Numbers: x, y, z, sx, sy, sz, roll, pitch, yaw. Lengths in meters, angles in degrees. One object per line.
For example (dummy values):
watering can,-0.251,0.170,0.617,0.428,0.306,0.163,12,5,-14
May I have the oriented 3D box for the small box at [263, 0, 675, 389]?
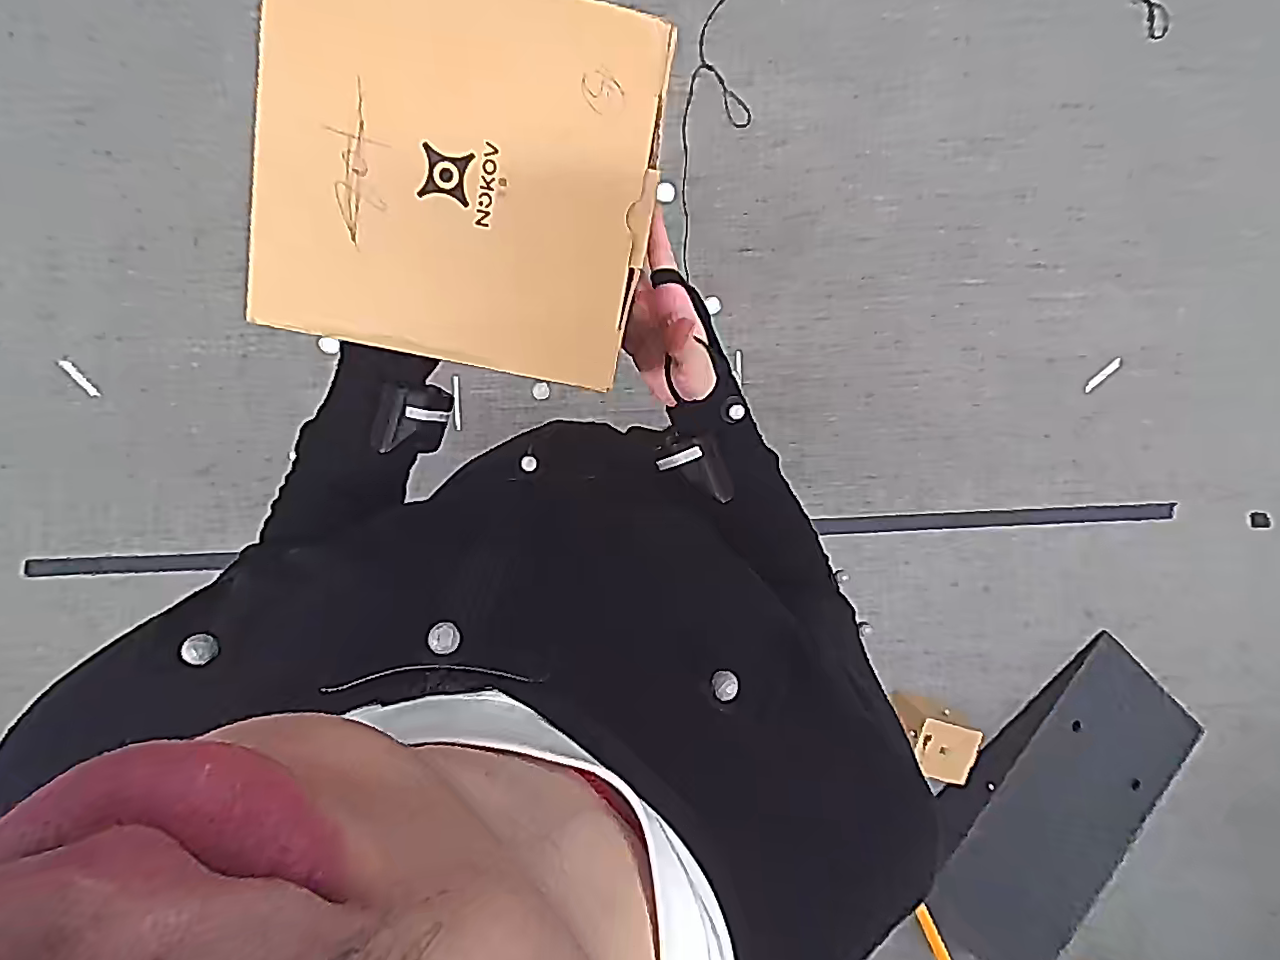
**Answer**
small box,-0.088,-0.157,0.336,0.179,0.176,0.168,11,100,-5
